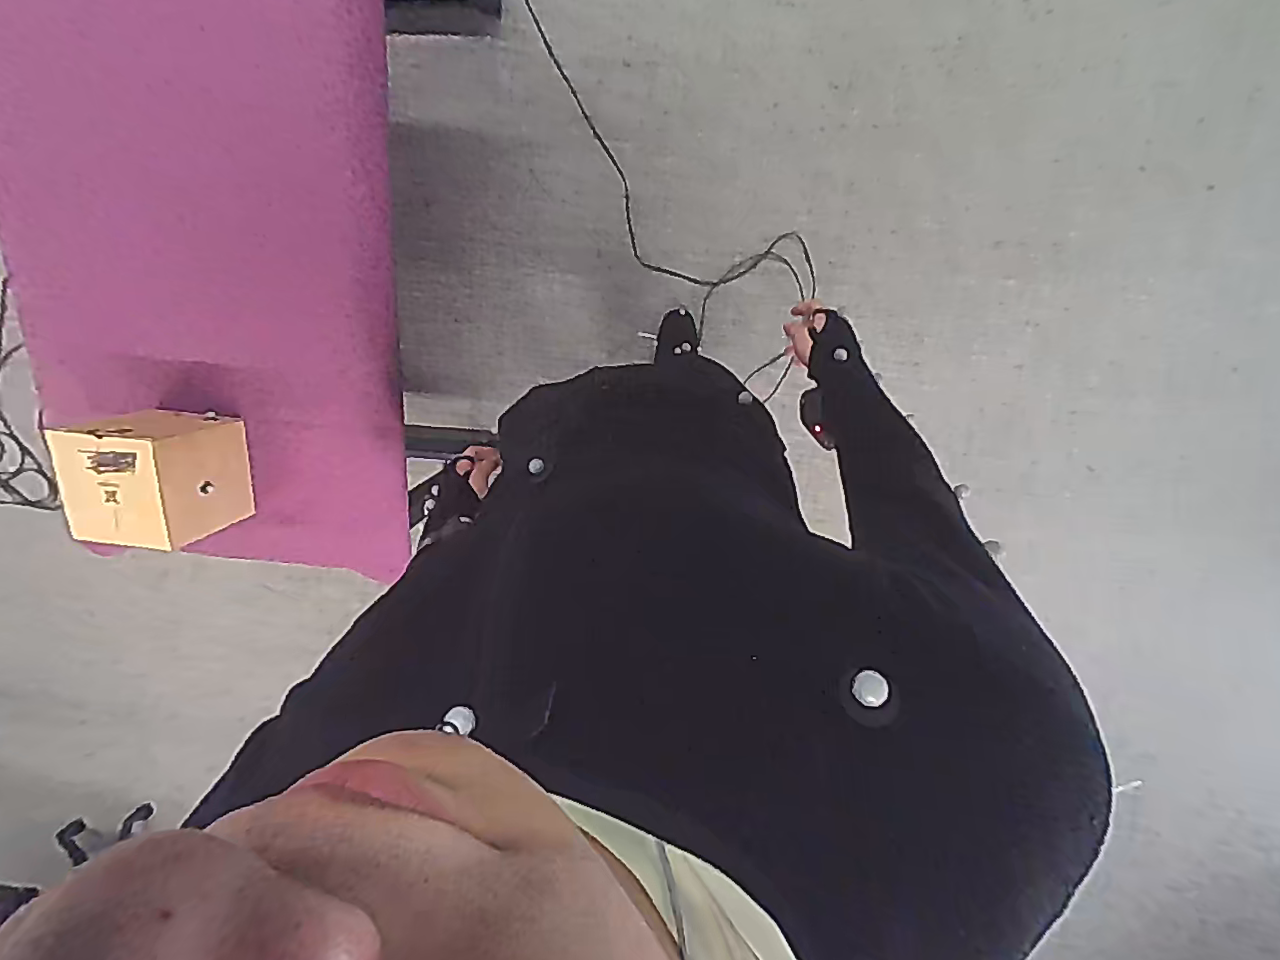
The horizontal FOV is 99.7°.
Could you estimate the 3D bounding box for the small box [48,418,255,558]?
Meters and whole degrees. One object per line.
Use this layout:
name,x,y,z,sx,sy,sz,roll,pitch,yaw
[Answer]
small box,-0.762,0.004,0.866,0.168,0.176,0.179,6,108,4
